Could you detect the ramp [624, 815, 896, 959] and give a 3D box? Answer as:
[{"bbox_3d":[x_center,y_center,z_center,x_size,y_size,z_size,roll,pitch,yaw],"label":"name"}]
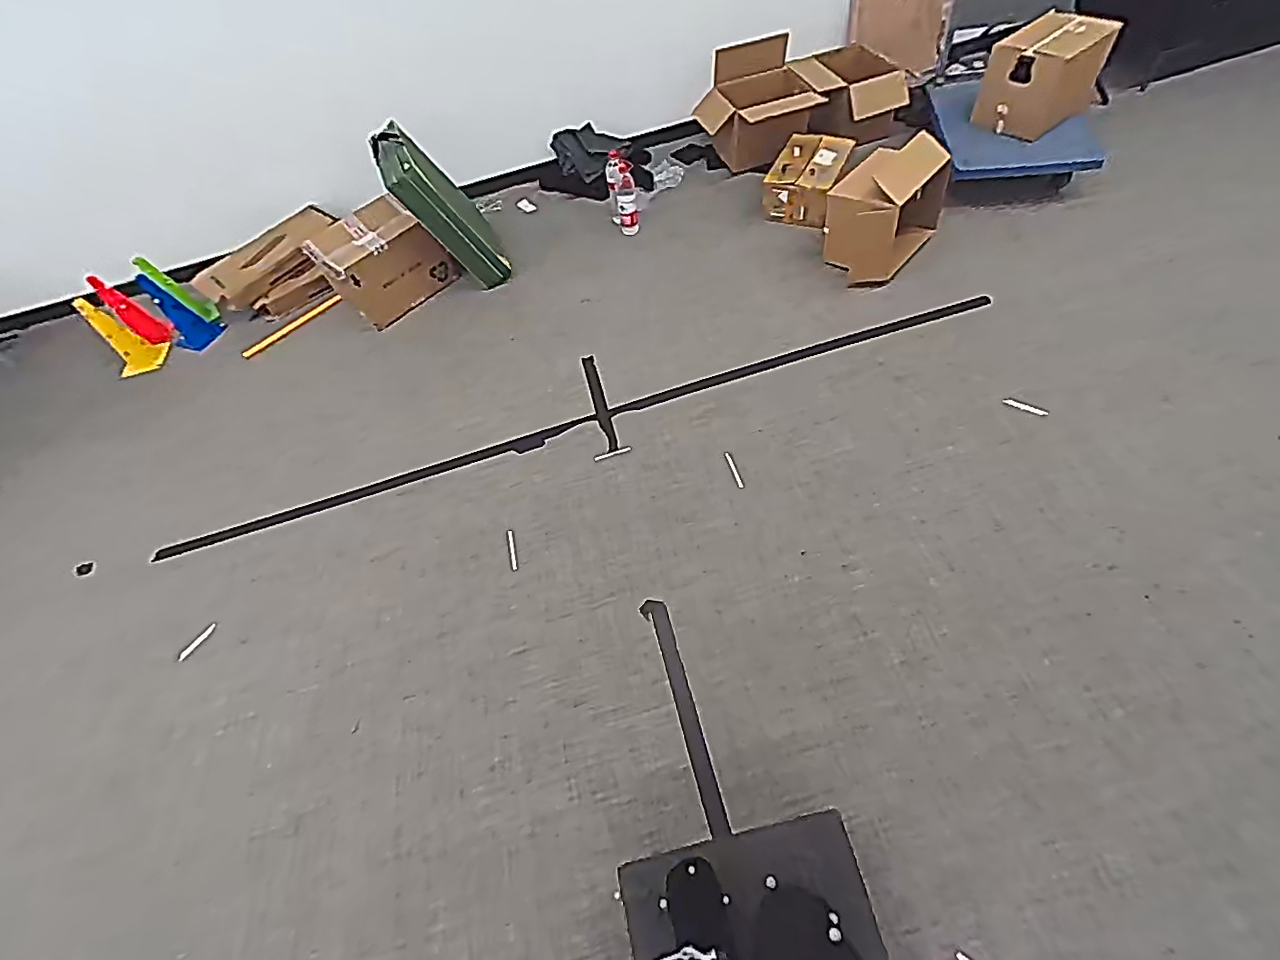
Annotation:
[{"bbox_3d":[0.327,1.207,0.937,0.509,0.206,0.991,-17,55,-3],"label":"ramp"}]
